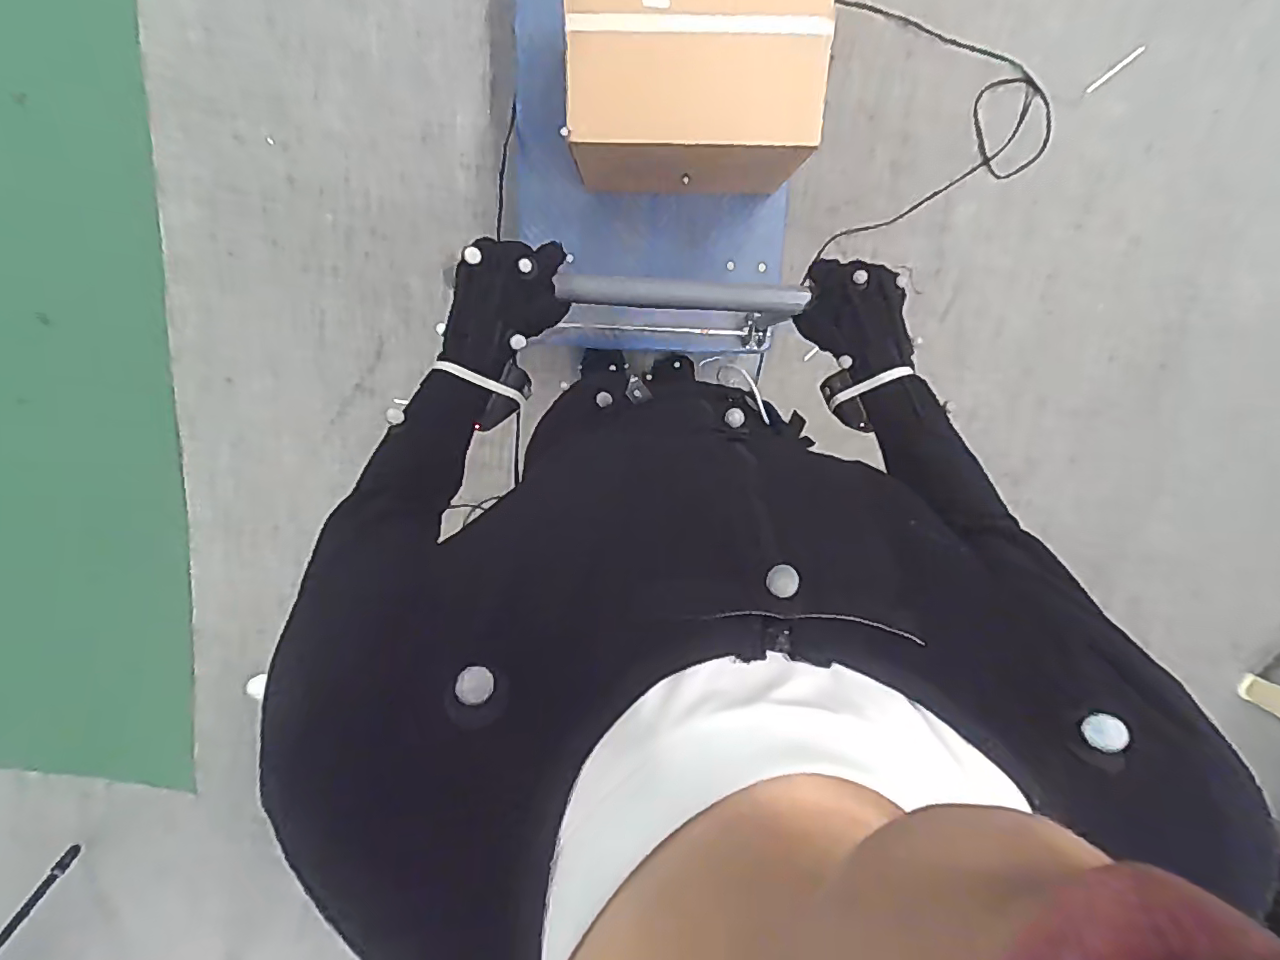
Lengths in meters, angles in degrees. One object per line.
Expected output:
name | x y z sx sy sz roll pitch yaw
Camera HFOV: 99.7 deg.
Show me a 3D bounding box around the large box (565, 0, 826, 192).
large box | 0.087 -0.723 0.975 0.408 0.320 0.320 1 105 1
